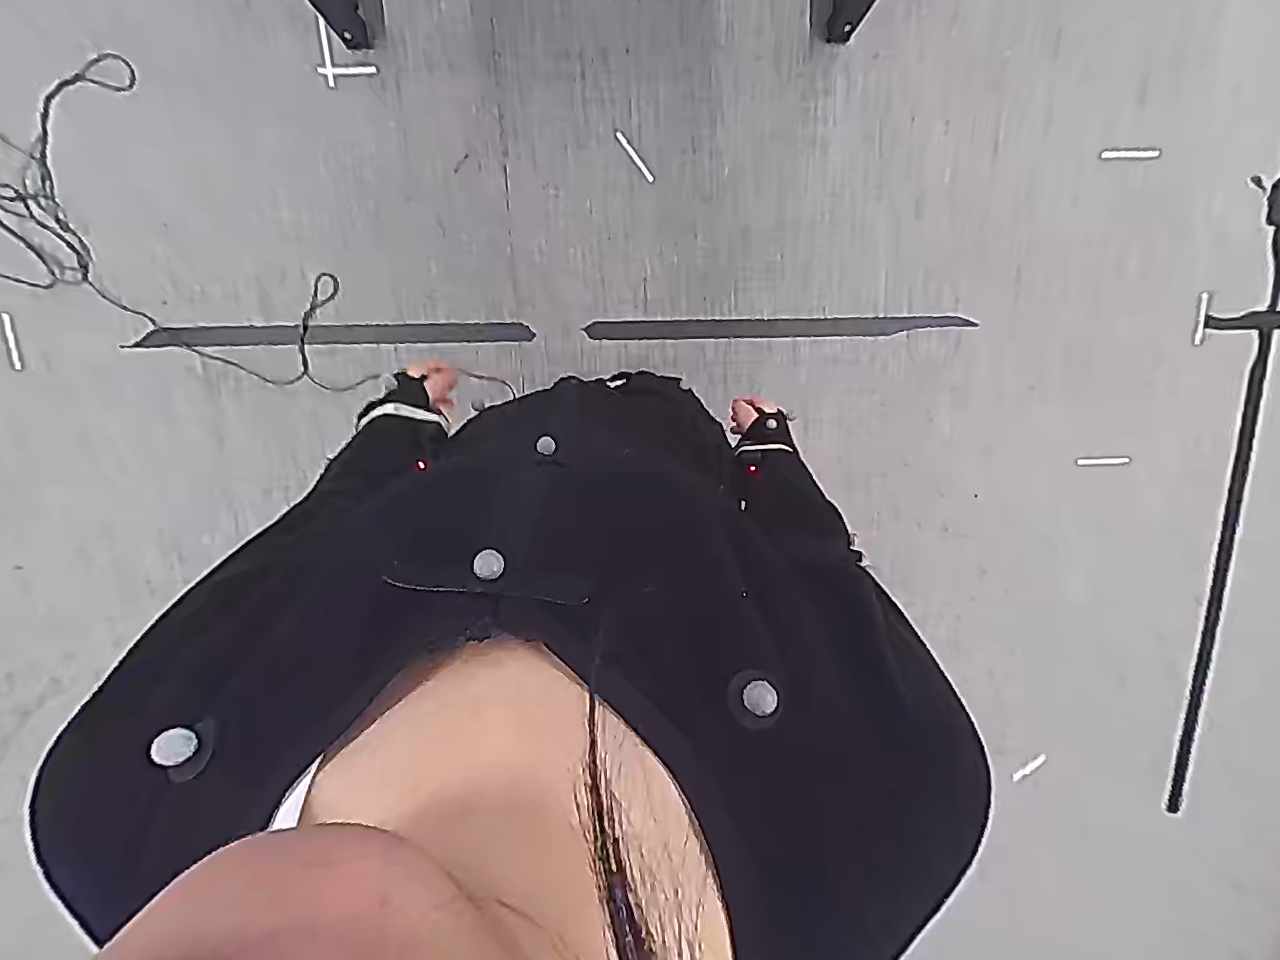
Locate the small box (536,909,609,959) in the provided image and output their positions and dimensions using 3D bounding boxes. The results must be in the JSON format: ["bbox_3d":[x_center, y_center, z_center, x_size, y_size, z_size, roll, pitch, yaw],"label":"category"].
[{"bbox_3d":[-0.166,1.220,1.356,0.179,0.176,0.168,-3,100,-1],"label":"small box"}]
